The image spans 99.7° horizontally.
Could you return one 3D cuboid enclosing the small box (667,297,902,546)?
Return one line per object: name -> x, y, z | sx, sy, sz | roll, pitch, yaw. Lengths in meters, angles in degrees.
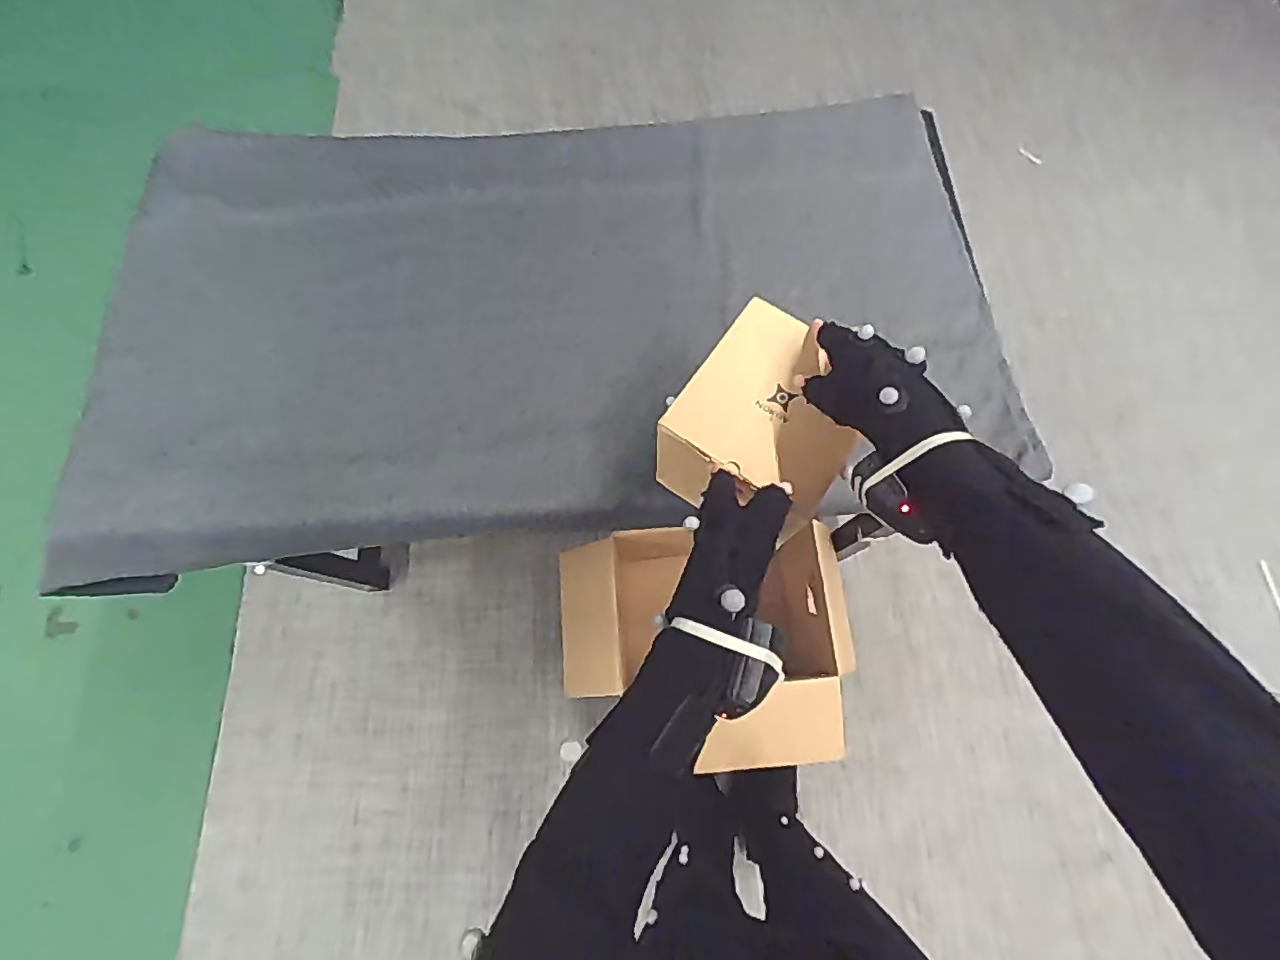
small box -> 0.138, -0.052, 0.588 | 0.168, 0.176, 0.179 | 34, 77, 11
